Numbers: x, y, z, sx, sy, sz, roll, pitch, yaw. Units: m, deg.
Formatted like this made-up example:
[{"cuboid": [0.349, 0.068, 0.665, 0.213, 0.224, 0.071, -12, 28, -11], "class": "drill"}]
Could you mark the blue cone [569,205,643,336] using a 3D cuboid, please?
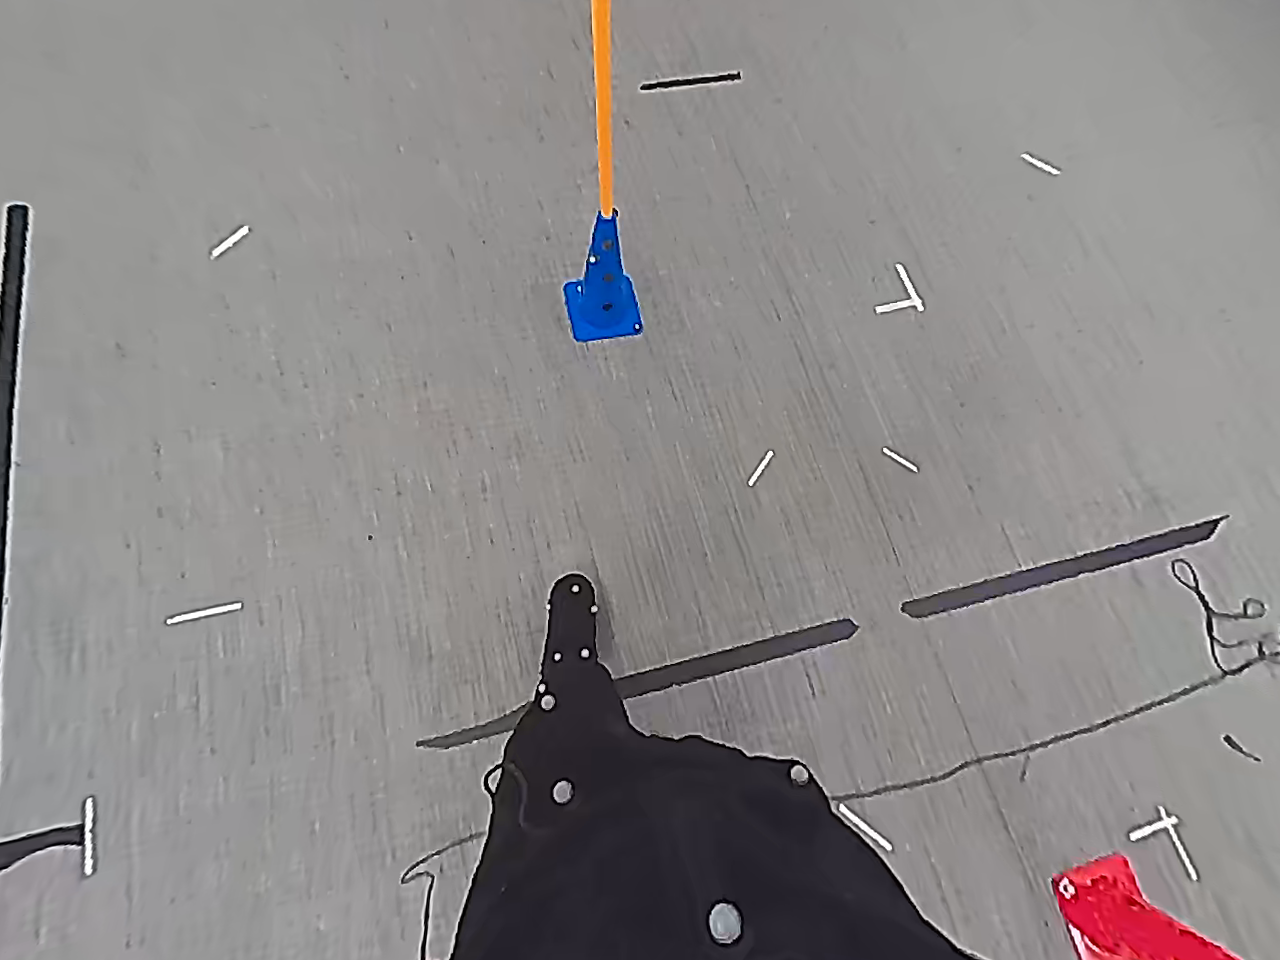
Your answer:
[{"cuboid": [-0.083, -0.545, 1.385, 0.192, 0.380, 0.193, -9, 74, -9], "class": "blue cone"}]
